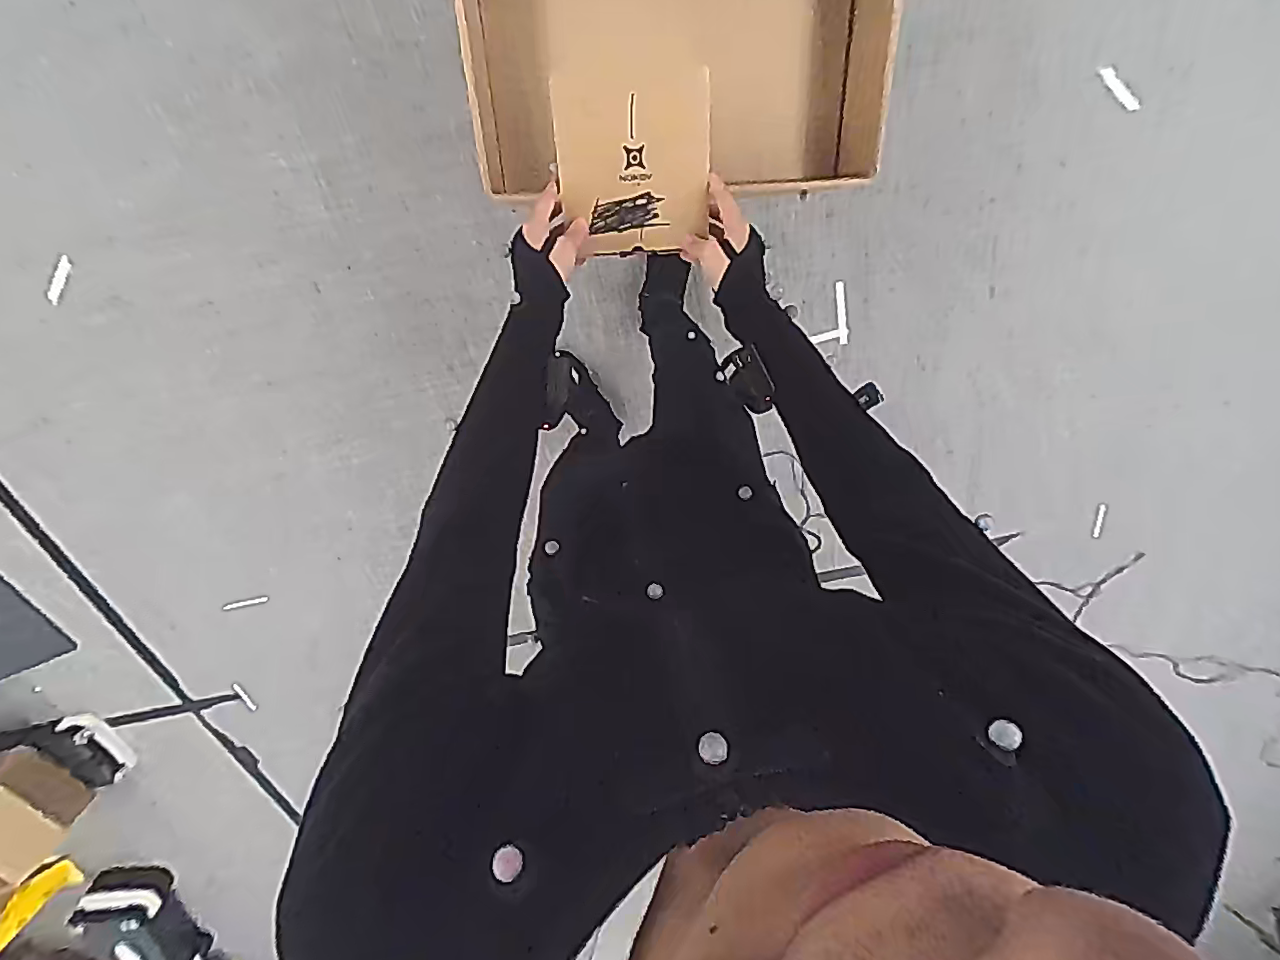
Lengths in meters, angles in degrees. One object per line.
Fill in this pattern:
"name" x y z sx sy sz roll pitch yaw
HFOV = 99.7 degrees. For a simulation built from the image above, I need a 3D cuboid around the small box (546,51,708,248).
"small box" -0.012 -0.385 0.648 0.168 0.176 0.179 -4 117 -1
